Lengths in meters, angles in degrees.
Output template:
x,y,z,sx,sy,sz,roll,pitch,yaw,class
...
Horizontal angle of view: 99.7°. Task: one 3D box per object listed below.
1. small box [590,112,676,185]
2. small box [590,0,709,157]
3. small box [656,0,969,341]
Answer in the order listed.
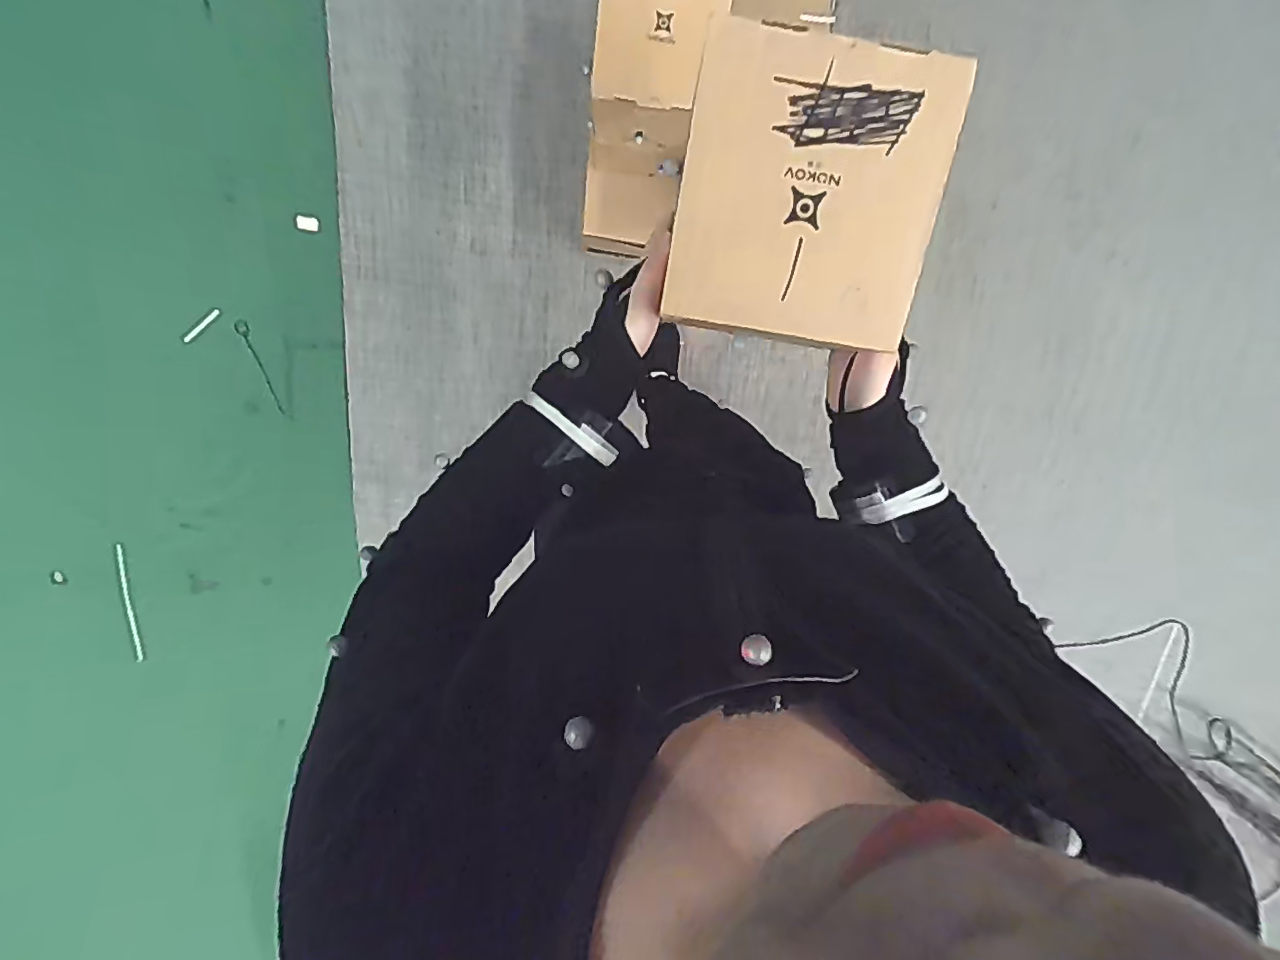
x,y,z,sx,sy,sz,roll,pitch,yaw,class
0.011,-0.620,0.909,0.168,0.176,0.179,7,103,-5,small box
0.022,-0.581,0.752,0.168,0.176,0.179,7,105,-4,small box
0.105,-0.209,0.417,0.168,0.176,0.179,9,105,-1,small box
